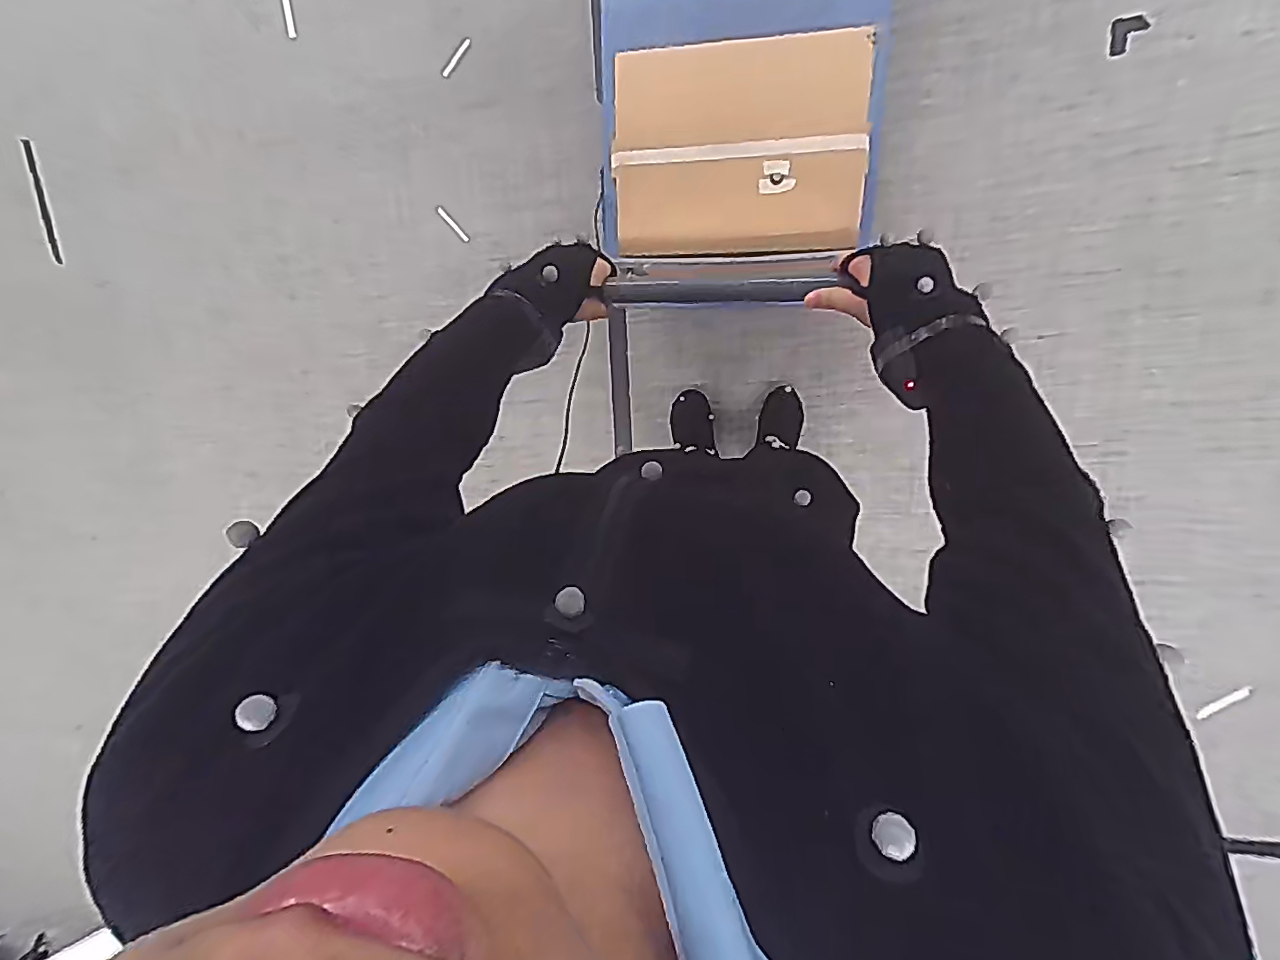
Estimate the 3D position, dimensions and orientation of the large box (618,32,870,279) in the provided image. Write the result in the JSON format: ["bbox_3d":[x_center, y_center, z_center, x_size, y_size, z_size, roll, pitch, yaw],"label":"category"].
[{"bbox_3d":[0.186,-0.577,1.041,0.408,0.320,0.320,2,105,10],"label":"large box"}]
